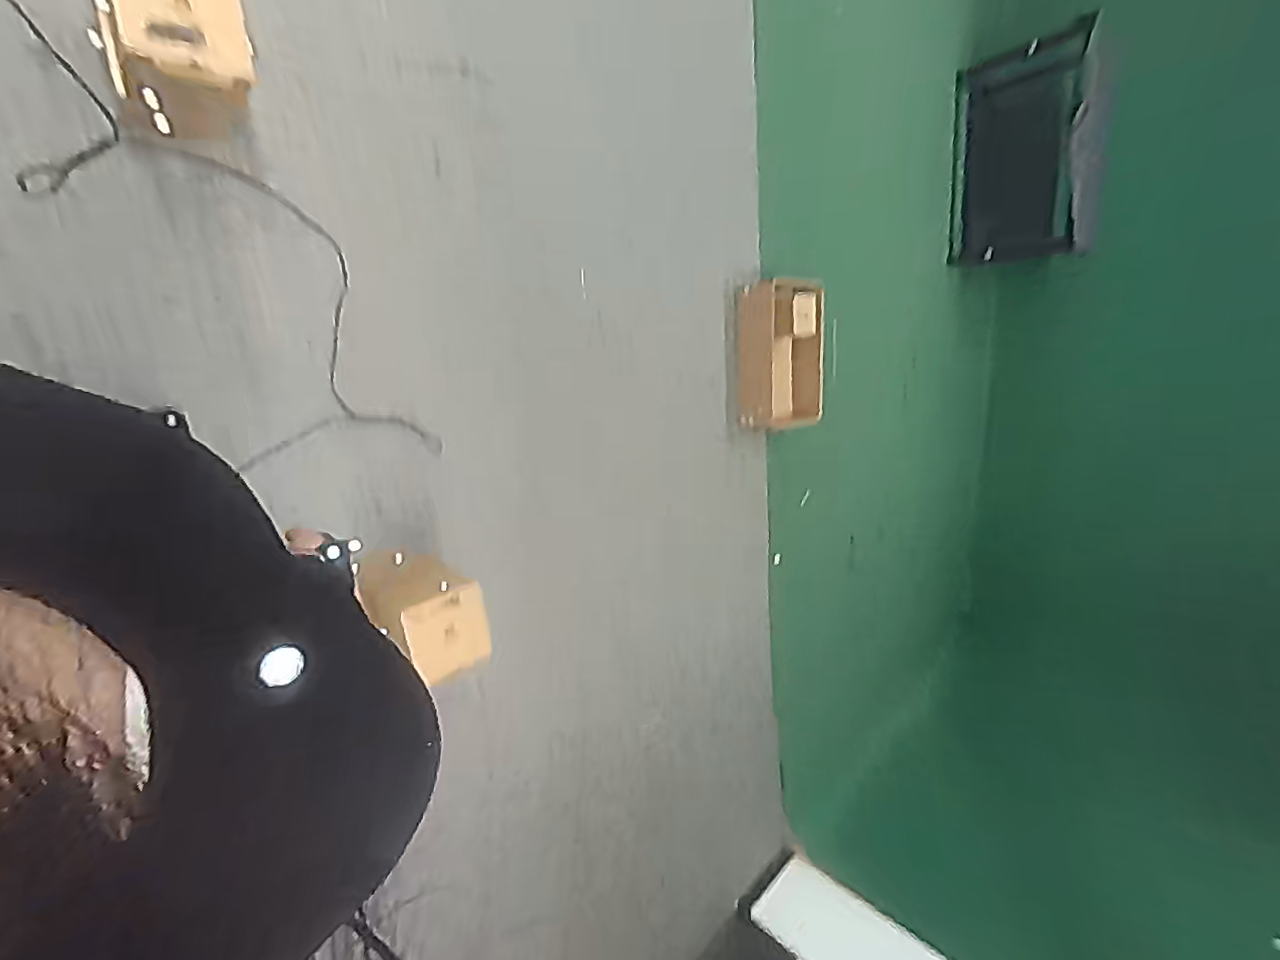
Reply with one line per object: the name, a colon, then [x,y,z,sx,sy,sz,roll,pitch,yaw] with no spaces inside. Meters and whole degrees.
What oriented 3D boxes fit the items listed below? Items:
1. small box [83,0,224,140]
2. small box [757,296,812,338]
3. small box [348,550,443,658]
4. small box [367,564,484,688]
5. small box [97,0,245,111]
small box: [-0.896,-0.765,1.003,0.168,0.176,0.179,-15,106,-41]
small box: [0.632,-0.713,2.364,0.179,0.176,0.168,-17,109,-39]
small box: [-0.564,0.285,1.278,0.168,0.176,0.179,-20,109,-40]
small box: [-0.458,0.301,1.153,0.168,0.176,0.179,-20,111,-40]
small box: [-0.776,-0.748,0.891,0.168,0.176,0.179,-14,105,-41]
